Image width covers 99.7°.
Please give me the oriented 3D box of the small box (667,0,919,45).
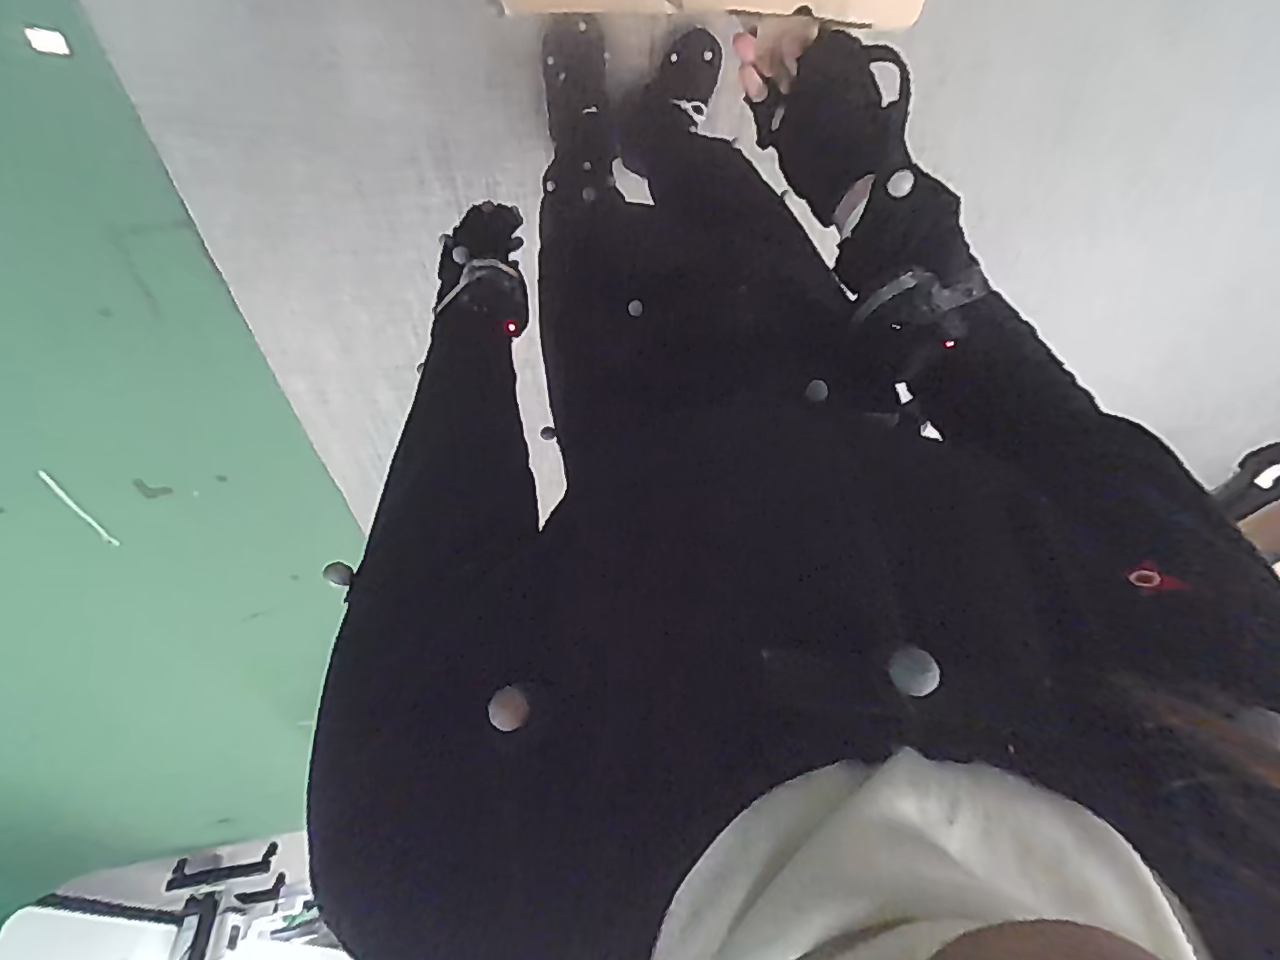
[{"bbox_3d":[0.099,-0.415,0.347,0.168,0.176,0.179,-5,140,-11],"label":"small box"}]
